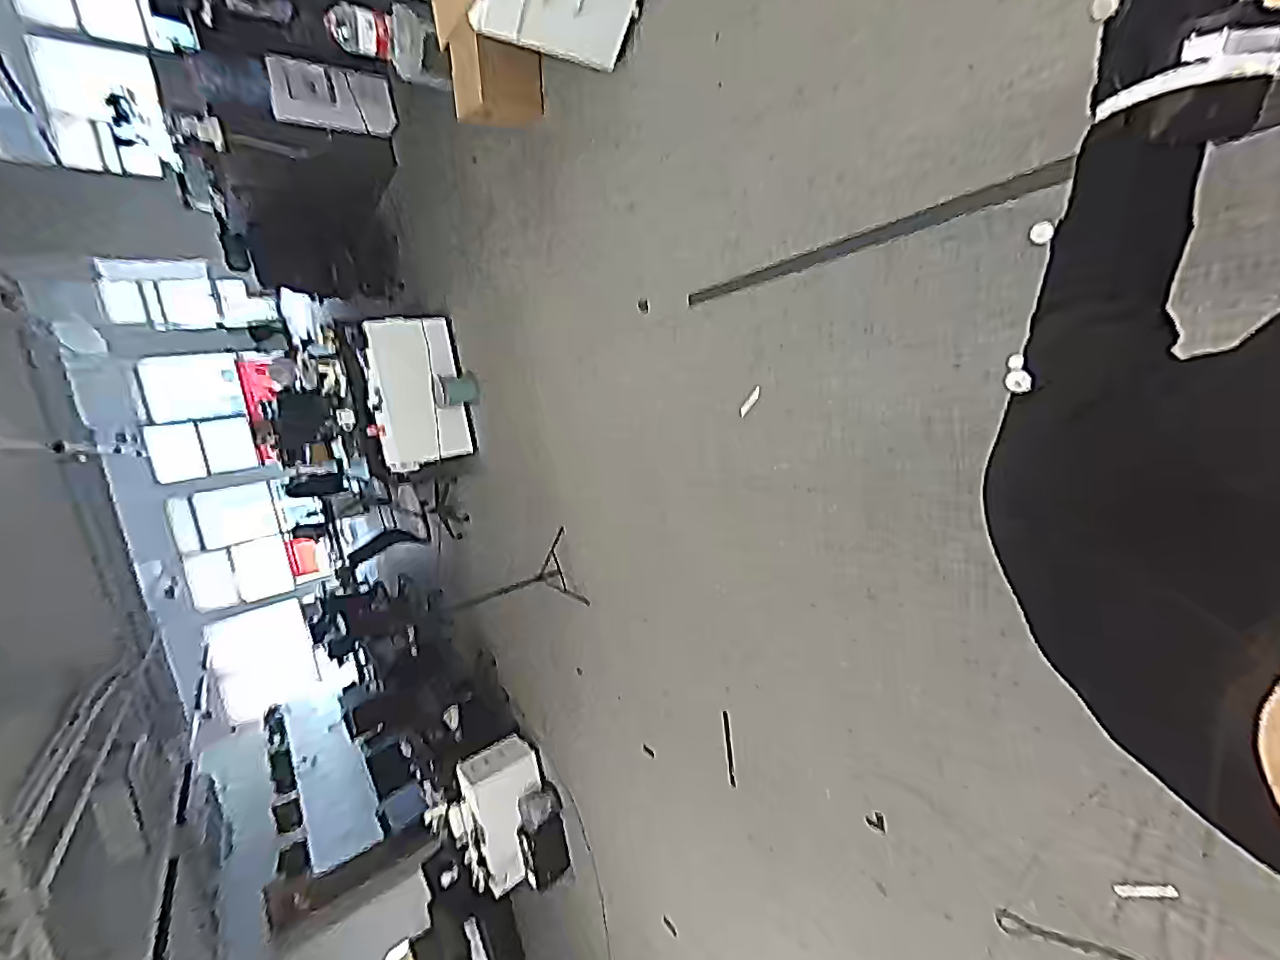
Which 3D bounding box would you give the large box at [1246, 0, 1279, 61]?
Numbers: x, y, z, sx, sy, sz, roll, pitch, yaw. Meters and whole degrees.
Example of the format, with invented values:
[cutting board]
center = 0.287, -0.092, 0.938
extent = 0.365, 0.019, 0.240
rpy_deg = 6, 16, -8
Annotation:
[large box]
center = 0.590, -0.442, 0.226
extent = 0.408, 0.320, 0.320
rpy_deg = 12, 115, 53
